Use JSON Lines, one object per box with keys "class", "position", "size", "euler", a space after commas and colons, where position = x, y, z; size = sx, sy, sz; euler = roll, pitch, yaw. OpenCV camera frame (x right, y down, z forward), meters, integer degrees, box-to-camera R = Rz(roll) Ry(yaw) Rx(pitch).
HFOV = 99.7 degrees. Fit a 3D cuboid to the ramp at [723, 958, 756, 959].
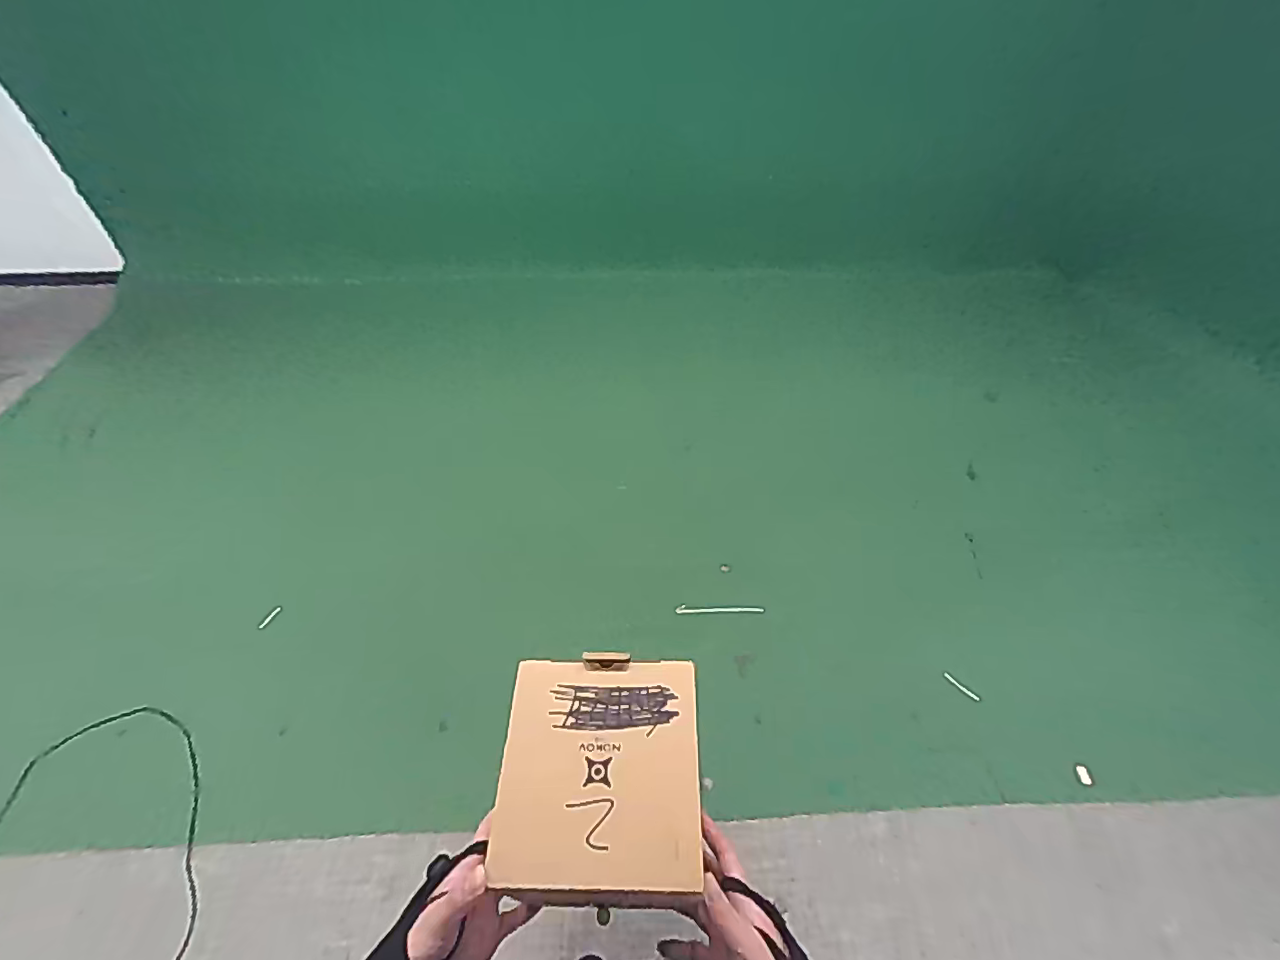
{"class": "ramp", "position": [0.057, 1.495, 0.933], "size": [0.509, 0.206, 0.991], "euler": [-3, 49, -4]}
